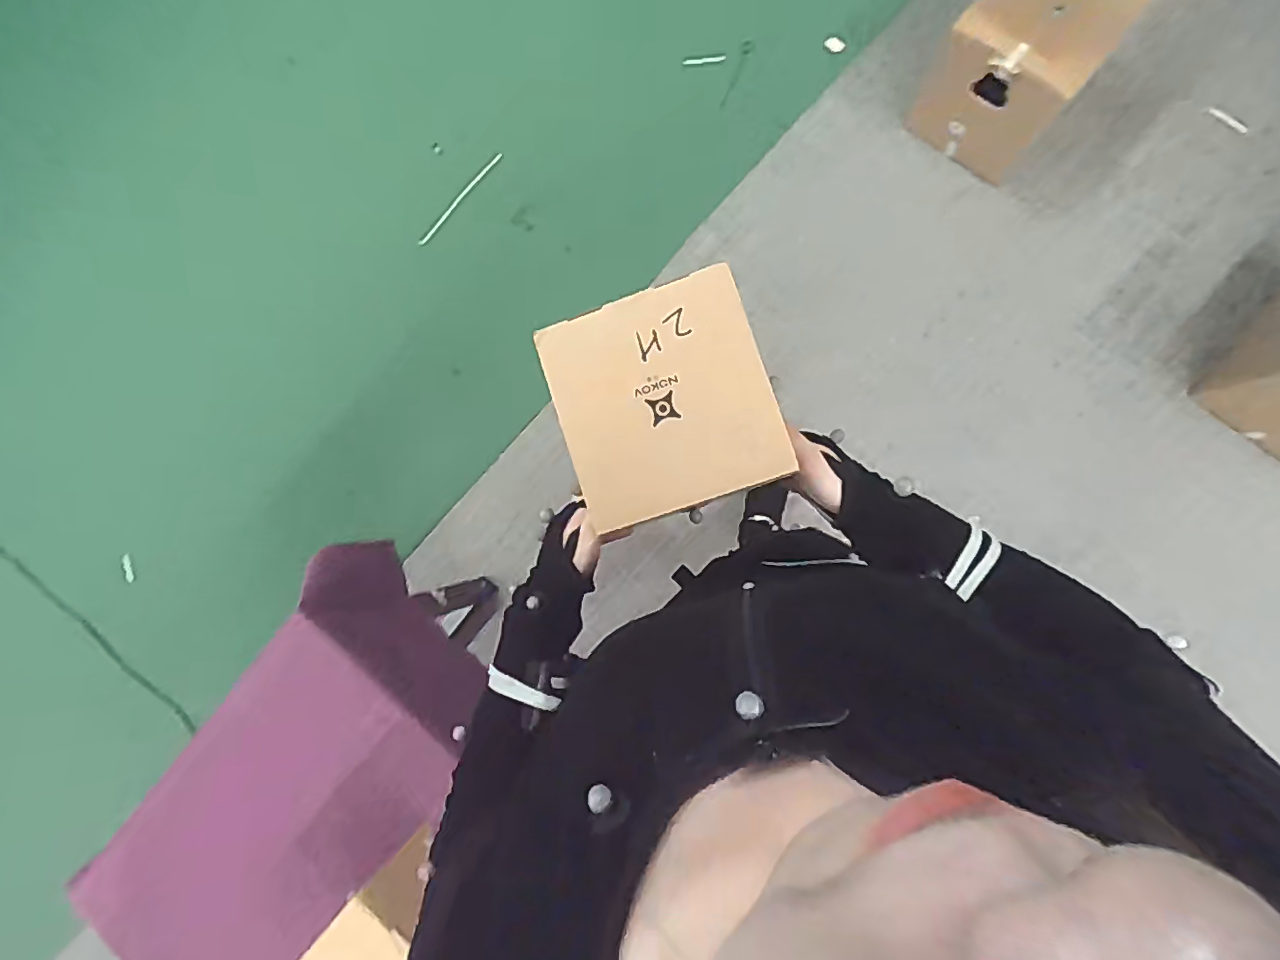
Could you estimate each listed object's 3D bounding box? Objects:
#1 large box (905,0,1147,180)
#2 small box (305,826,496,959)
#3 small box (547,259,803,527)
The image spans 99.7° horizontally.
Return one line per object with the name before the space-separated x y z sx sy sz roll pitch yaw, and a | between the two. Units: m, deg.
large box | 0.954 -1.067 1.345 0.320 0.320 0.408 41 90 8
small box | -0.317 0.617 0.721 0.168 0.176 0.179 40 91 8
small box | 0.035 -0.066 0.501 0.168 0.176 0.179 -17 86 6
